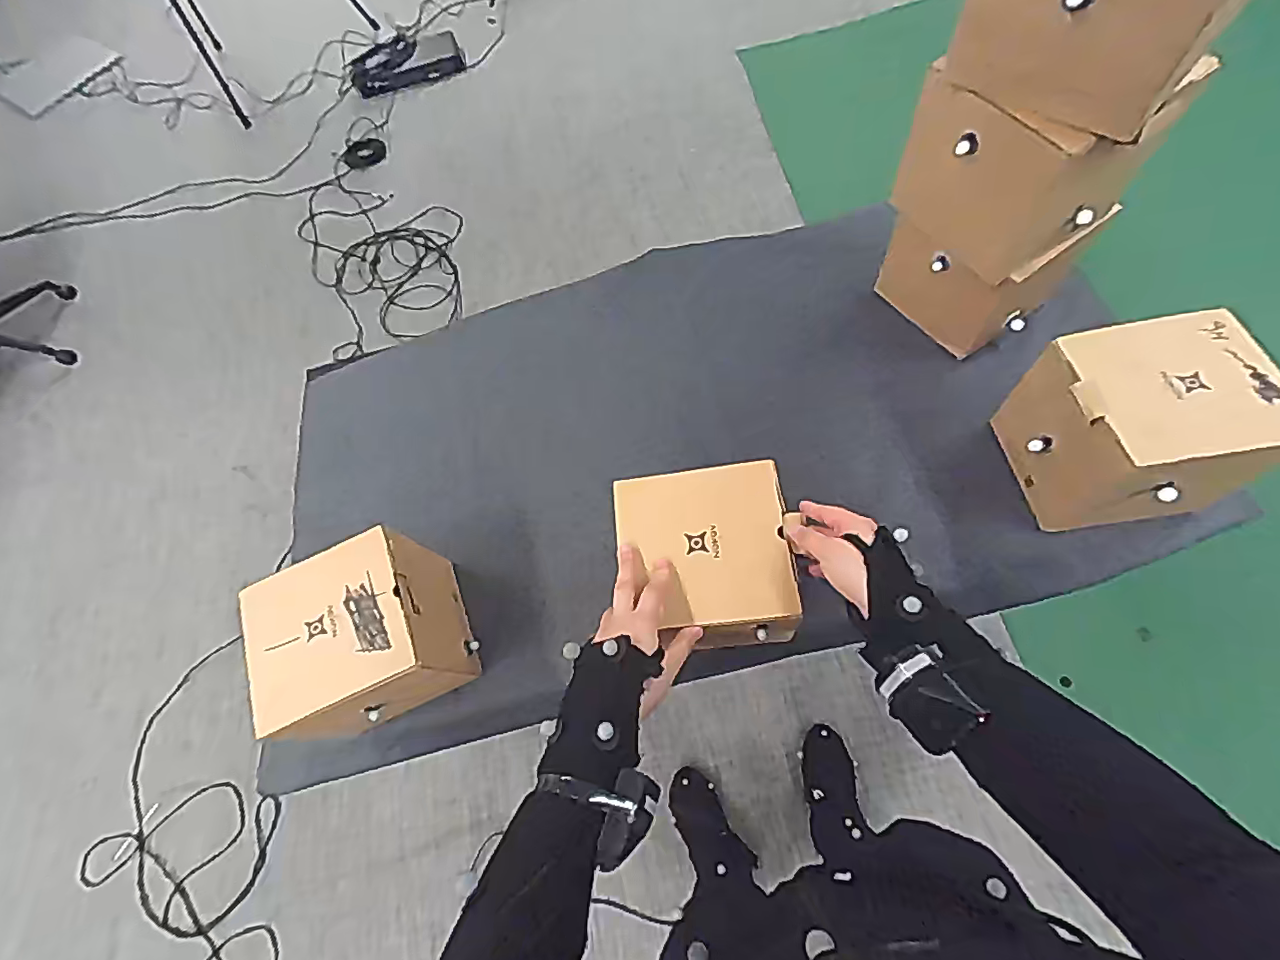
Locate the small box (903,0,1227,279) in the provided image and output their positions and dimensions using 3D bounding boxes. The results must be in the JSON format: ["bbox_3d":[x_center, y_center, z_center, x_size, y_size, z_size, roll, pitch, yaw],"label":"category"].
[{"bbox_3d":[0.416,-0.355,0.574,0.168,0.176,0.179,-32,67,-1],"label":"small box"}]

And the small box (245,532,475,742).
[{"bbox_3d":[-0.314,0.186,0.640,0.179,0.176,0.168,-25,66,-1],"label":"small box"}]

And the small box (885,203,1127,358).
[{"bbox_3d":[0.464,-0.300,0.723,0.168,0.176,0.179,-36,68,-4],"label":"small box"}]

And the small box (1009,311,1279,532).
[{"bbox_3d":[0.549,-0.053,0.600,0.179,0.176,0.168,-9,62,6],"label":"small box"}]

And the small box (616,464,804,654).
[{"bbox_3d":[0.078,0.100,0.617,0.179,0.176,0.168,-8,66,7],"label":"small box"}]
